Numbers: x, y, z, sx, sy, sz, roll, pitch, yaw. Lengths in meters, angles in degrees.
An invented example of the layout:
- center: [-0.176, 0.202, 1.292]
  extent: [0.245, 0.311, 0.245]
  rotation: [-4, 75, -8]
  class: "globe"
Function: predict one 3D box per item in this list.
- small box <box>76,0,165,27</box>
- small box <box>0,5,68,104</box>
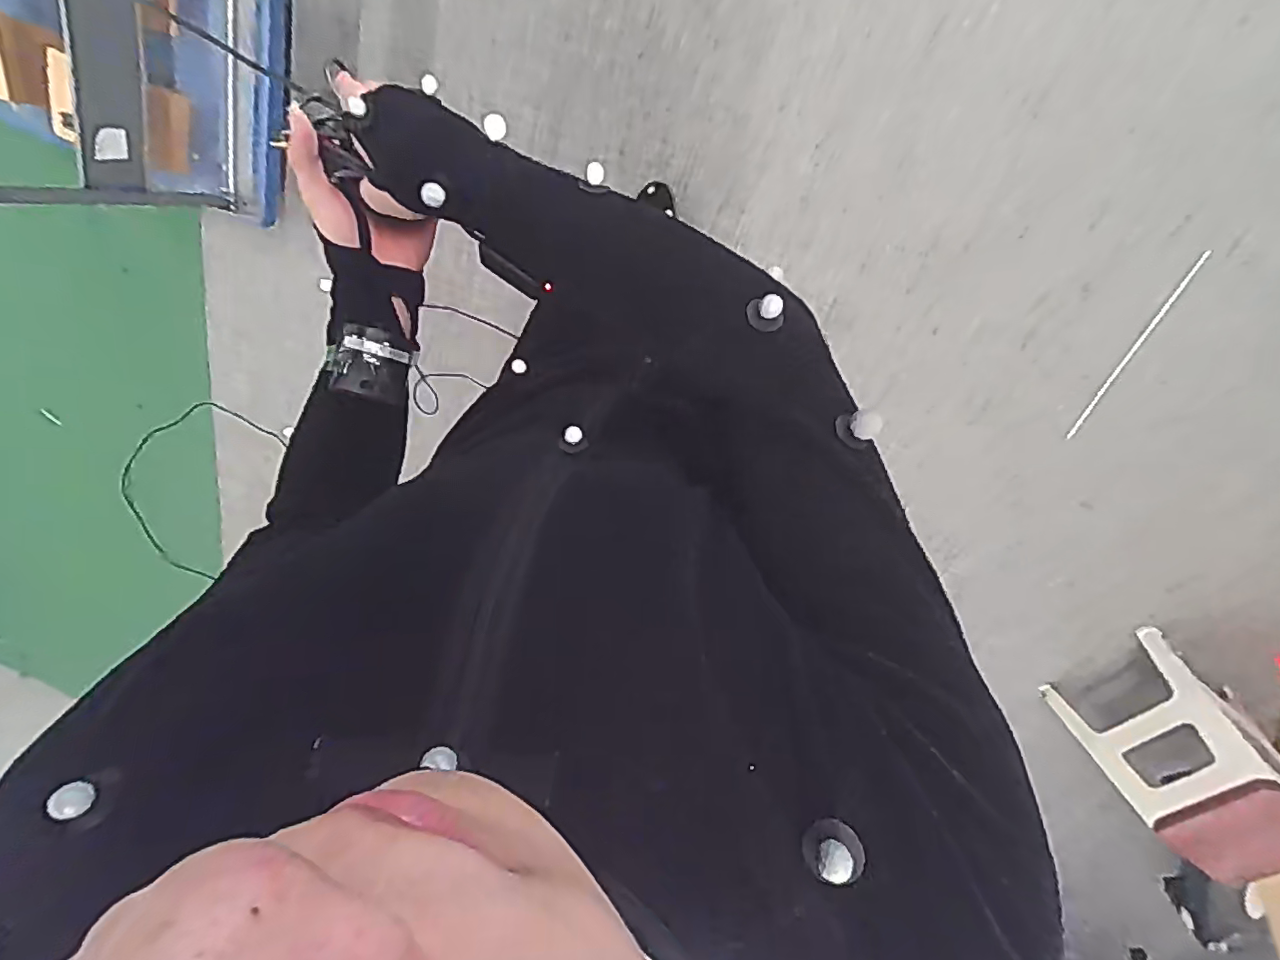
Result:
- center: [-1.134, -1.079, 1.109]
  extent: [0.179, 0.176, 0.168]
  rotation: [24, 117, -3]
  class: "small box"
- center: [-1.453, -0.975, 1.218]
  extent: [0.179, 0.176, 0.168]
  rotation: [20, 117, 0]
  class: "small box"
